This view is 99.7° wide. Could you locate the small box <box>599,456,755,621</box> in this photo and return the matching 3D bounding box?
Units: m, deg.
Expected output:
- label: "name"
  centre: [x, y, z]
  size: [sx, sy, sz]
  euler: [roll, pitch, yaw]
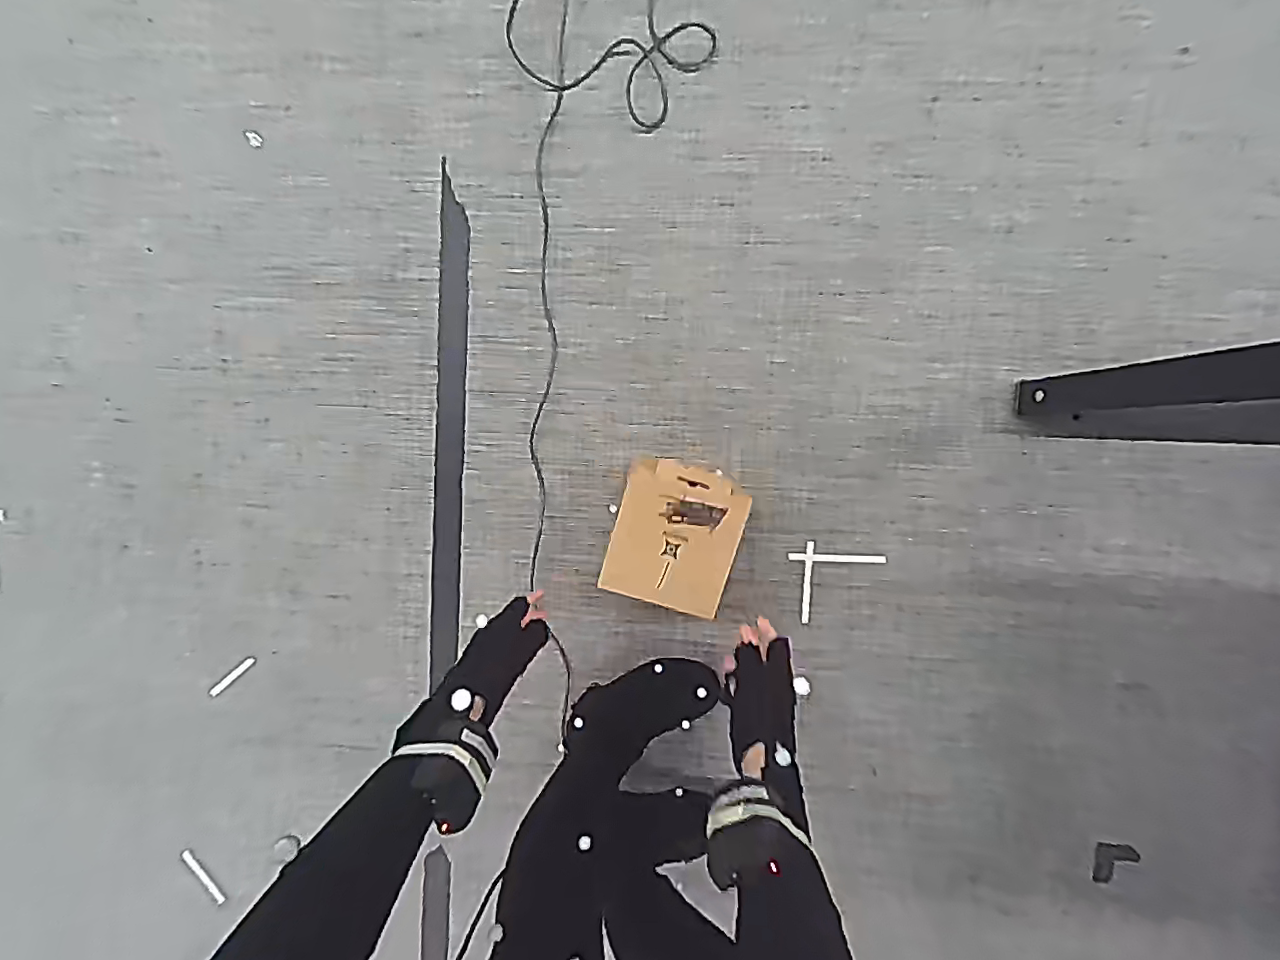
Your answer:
- label: "small box"
  centre: [0.049, 0.073, 0.790]
  size: [0.168, 0.176, 0.179]
  euler: [18, 99, 0]
